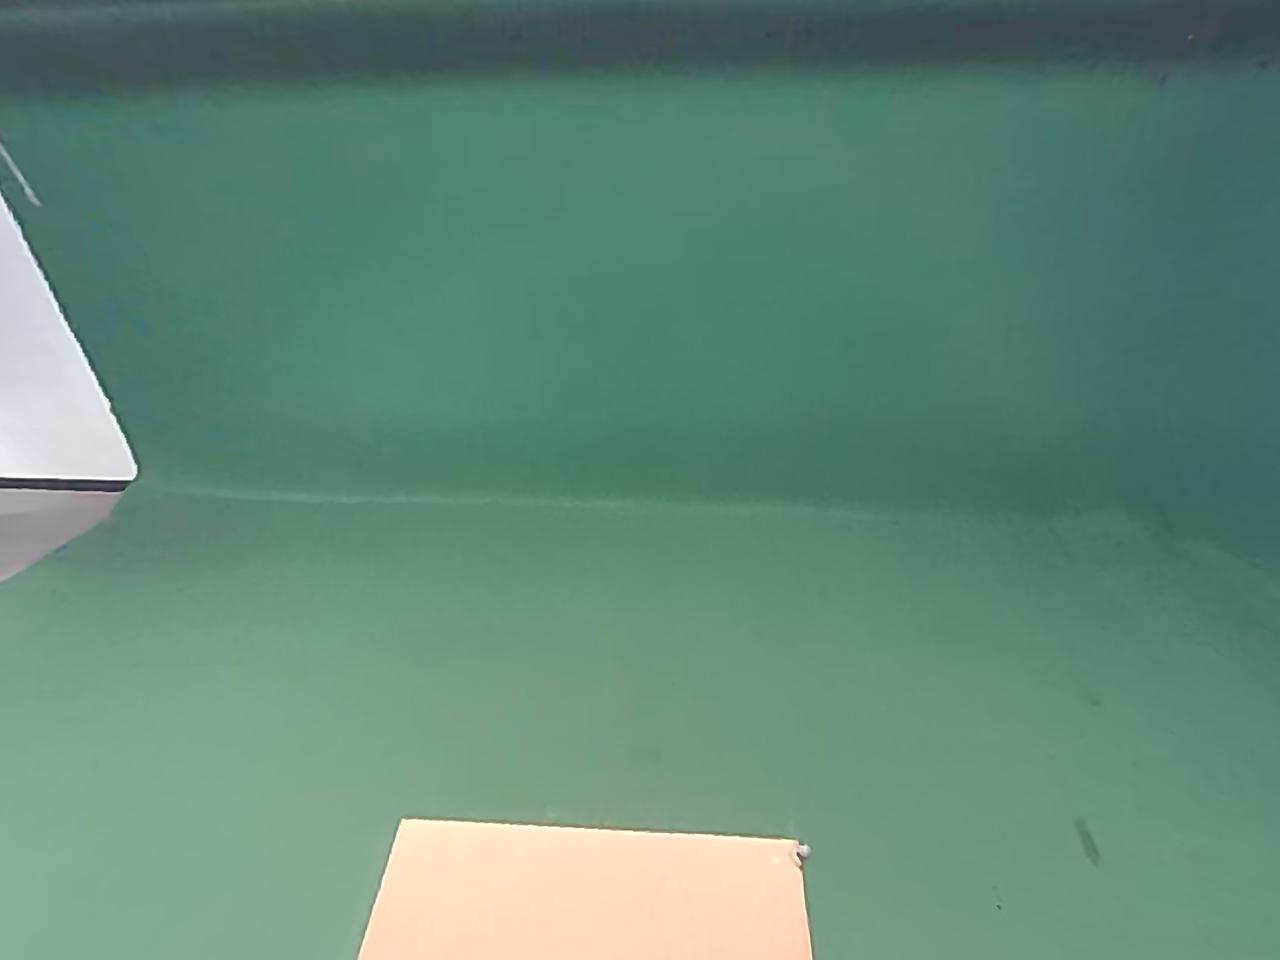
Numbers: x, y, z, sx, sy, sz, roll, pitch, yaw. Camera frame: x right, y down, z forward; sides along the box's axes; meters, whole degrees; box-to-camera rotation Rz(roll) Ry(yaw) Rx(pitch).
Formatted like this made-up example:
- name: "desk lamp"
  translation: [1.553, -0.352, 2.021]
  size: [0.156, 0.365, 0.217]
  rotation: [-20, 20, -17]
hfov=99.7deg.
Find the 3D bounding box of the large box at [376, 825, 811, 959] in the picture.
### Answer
- name: "large box"
  translation: [-0.049, 0.578, 0.561]
  size: [0.408, 0.320, 0.320]
  rotation: [3, 47, 0]
